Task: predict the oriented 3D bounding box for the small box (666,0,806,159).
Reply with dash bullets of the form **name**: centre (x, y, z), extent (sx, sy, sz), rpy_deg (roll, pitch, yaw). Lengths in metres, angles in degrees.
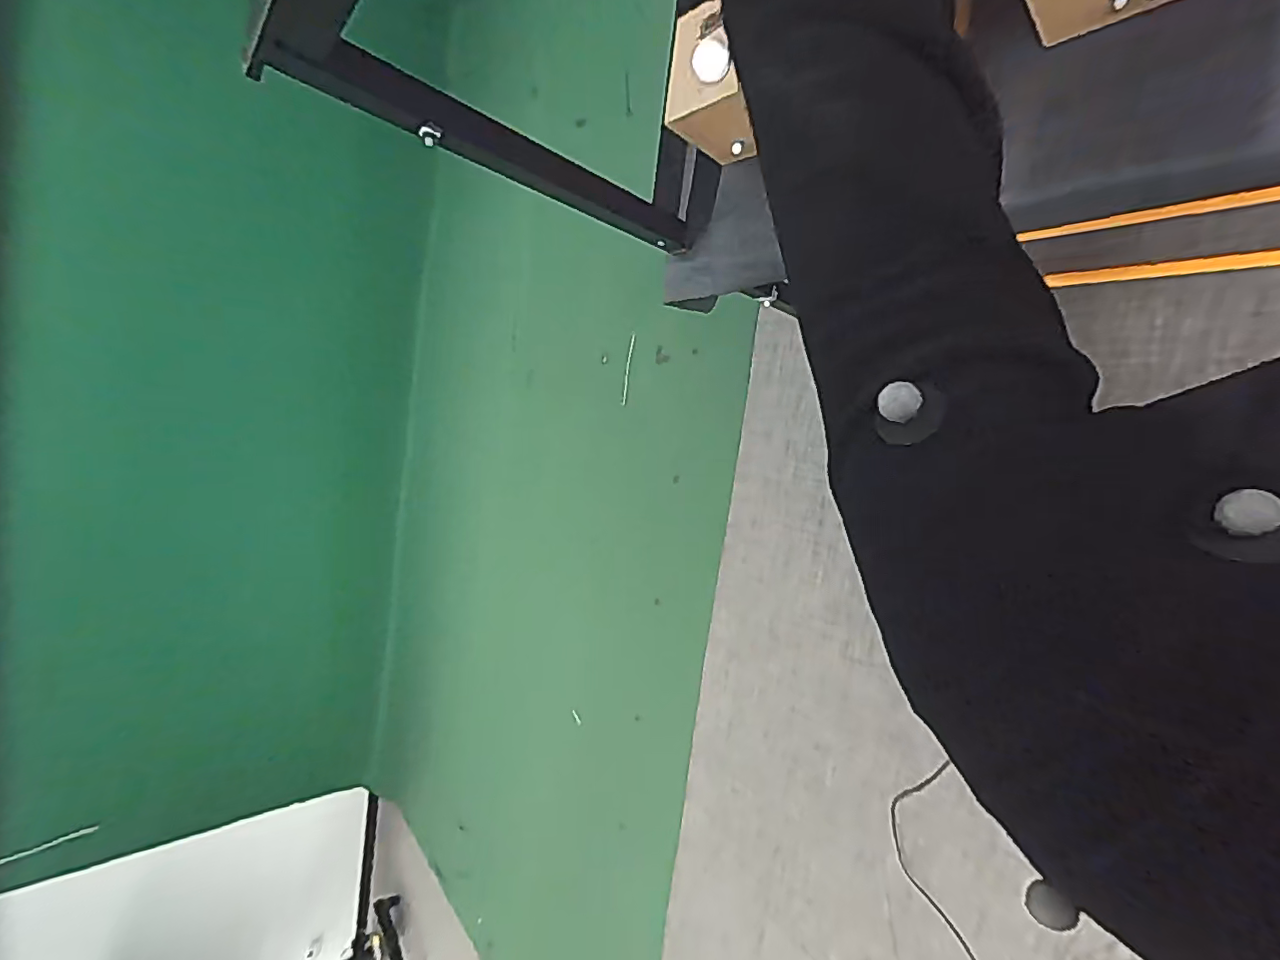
- **small box**: centre (0.170, -0.696, 0.930), extent (0.168, 0.176, 0.179), rpy_deg (14, 98, 47)
